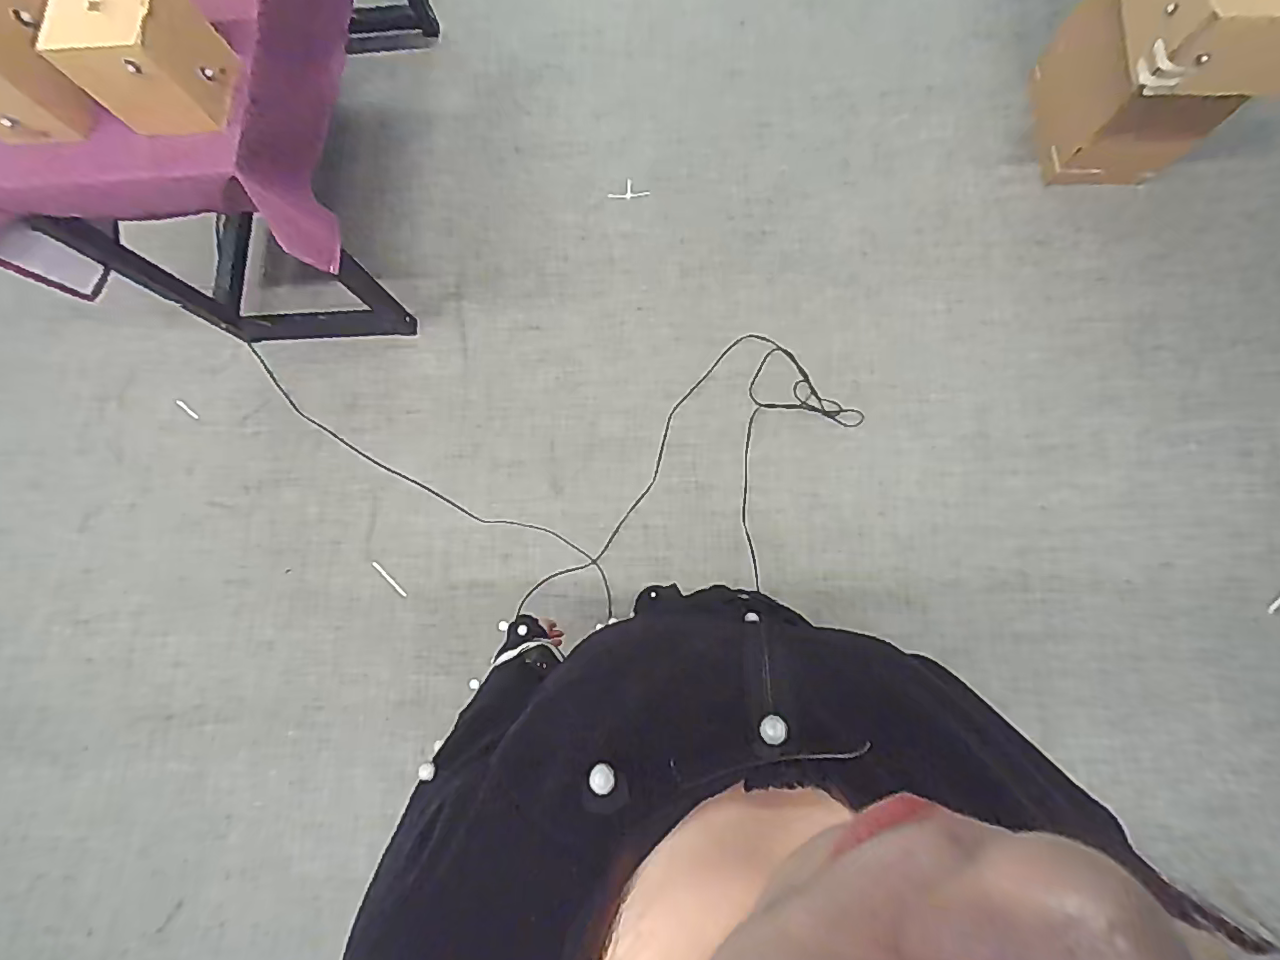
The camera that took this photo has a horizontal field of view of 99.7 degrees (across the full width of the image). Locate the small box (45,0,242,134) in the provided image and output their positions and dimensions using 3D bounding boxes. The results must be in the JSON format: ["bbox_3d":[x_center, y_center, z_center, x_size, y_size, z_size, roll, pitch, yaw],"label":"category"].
[{"bbox_3d":[-0.858,-0.742,0.950,0.179,0.176,0.168,0,79,4],"label":"small box"}]

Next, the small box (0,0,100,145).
[{"bbox_3d":[-1.130,-0.742,0.971,0.168,0.176,0.179,0,79,5],"label":"small box"}]
